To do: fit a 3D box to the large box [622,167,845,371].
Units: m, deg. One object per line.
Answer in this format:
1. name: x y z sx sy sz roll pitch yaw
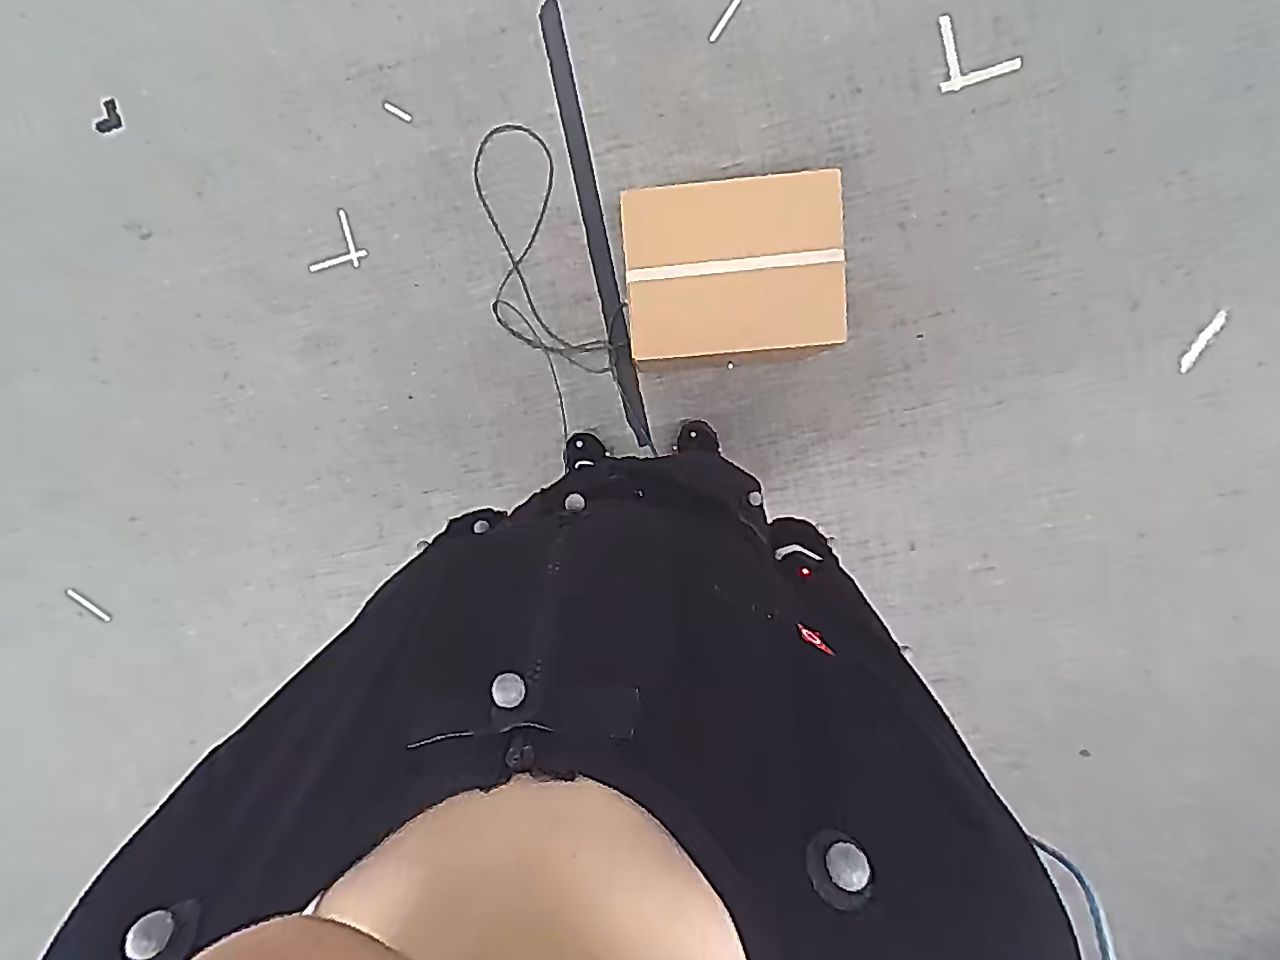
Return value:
1. large box: 0.183 -0.421 1.162 0.408 0.320 0.320 -4 97 3
